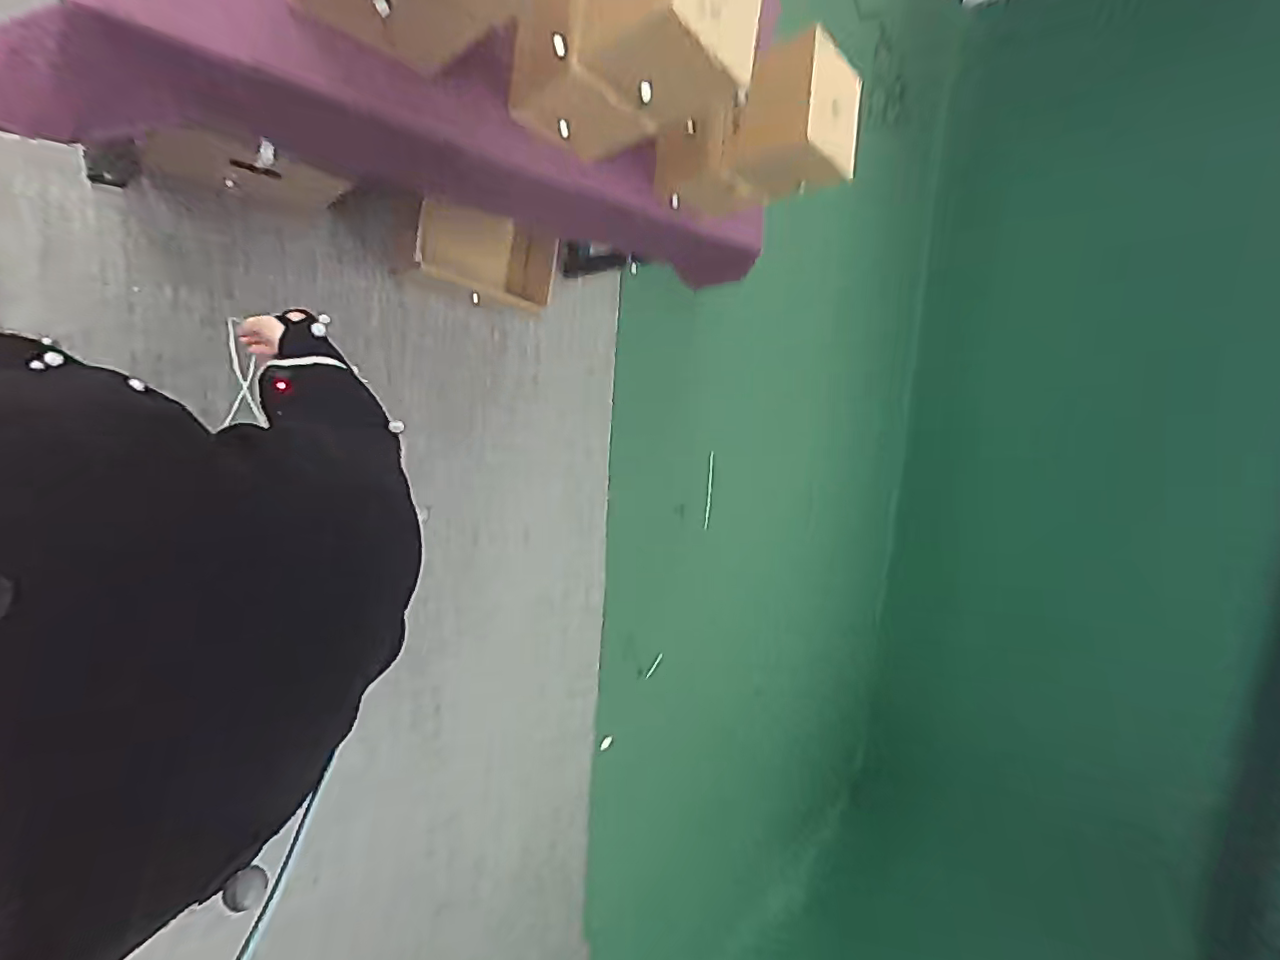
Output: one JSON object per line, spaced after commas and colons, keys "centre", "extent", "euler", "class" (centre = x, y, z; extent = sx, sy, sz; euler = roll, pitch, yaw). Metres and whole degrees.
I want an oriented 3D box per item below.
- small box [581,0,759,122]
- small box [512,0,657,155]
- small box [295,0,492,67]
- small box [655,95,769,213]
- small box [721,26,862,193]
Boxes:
{"centre": [0.039, -0.627, 0.718], "extent": [0.168, 0.176, 0.179], "euler": [5, 95, -46], "class": "small box"}
{"centre": [-0.080, -0.642, 0.831], "extent": [0.168, 0.176, 0.179], "euler": [3, 96, -46], "class": "small box"}
{"centre": [-0.286, -0.621, 0.617], "extent": [0.179, 0.176, 0.168], "euler": [-4, 101, -45], "class": "small box"}
{"centre": [0.145, -0.649, 1.060], "extent": [0.168, 0.176, 0.179], "euler": [-4, 100, -46], "class": "small box"}
{"centre": [0.265, -0.630, 0.951], "extent": [0.179, 0.176, 0.168], "euler": [-2, 98, -45], "class": "small box"}
